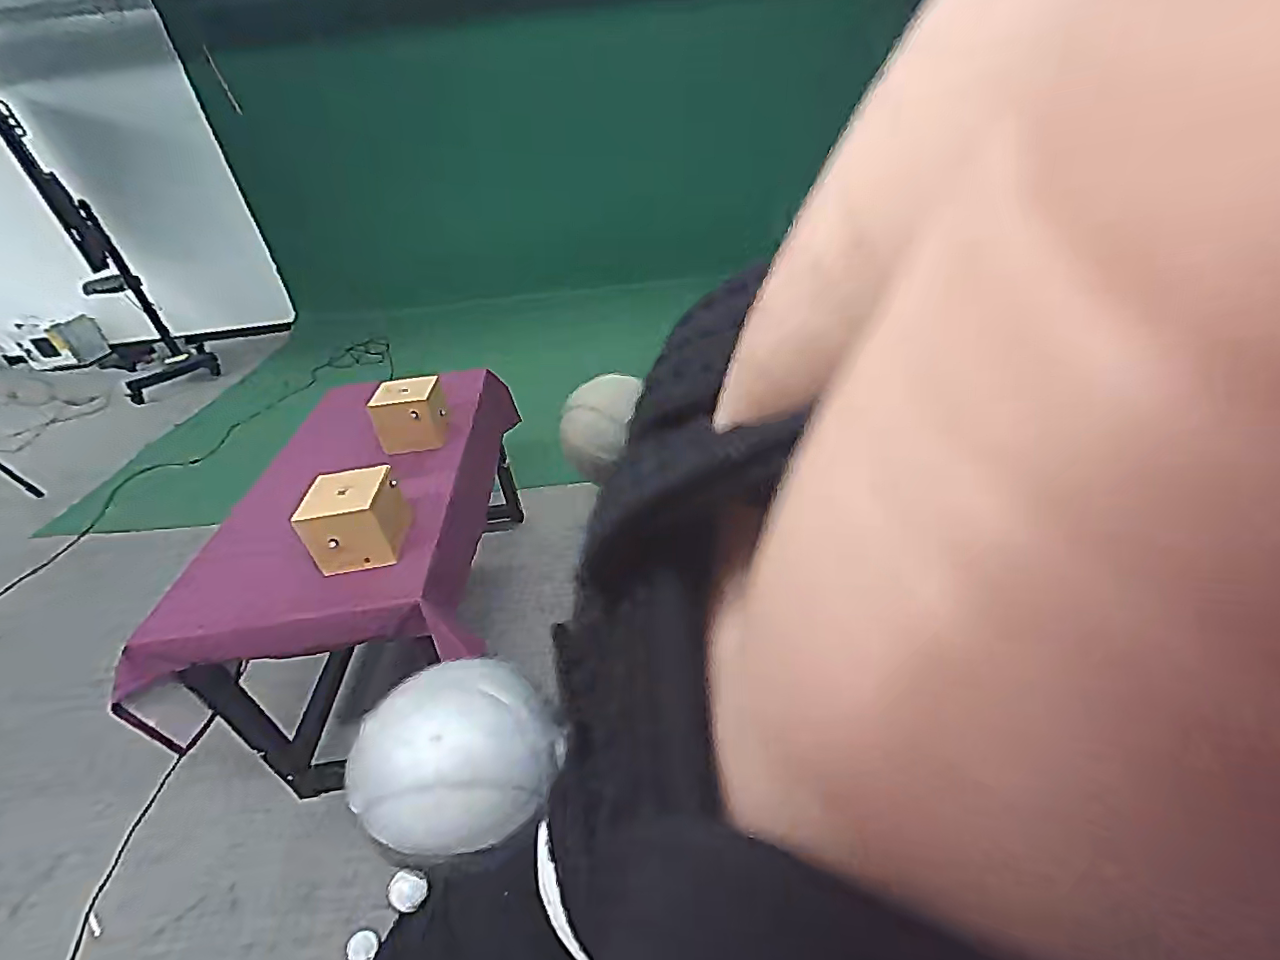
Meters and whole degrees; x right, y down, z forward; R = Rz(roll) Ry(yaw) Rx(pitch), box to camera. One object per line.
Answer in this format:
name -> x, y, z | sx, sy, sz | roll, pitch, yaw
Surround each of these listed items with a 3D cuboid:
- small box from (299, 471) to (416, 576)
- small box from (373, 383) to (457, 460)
small box -> -0.641, 0.106, 1.256 | 0.168, 0.176, 0.179 | -10, 34, -3
small box -> -0.684, -0.179, 1.668 | 0.179, 0.176, 0.168 | -8, 34, 0
